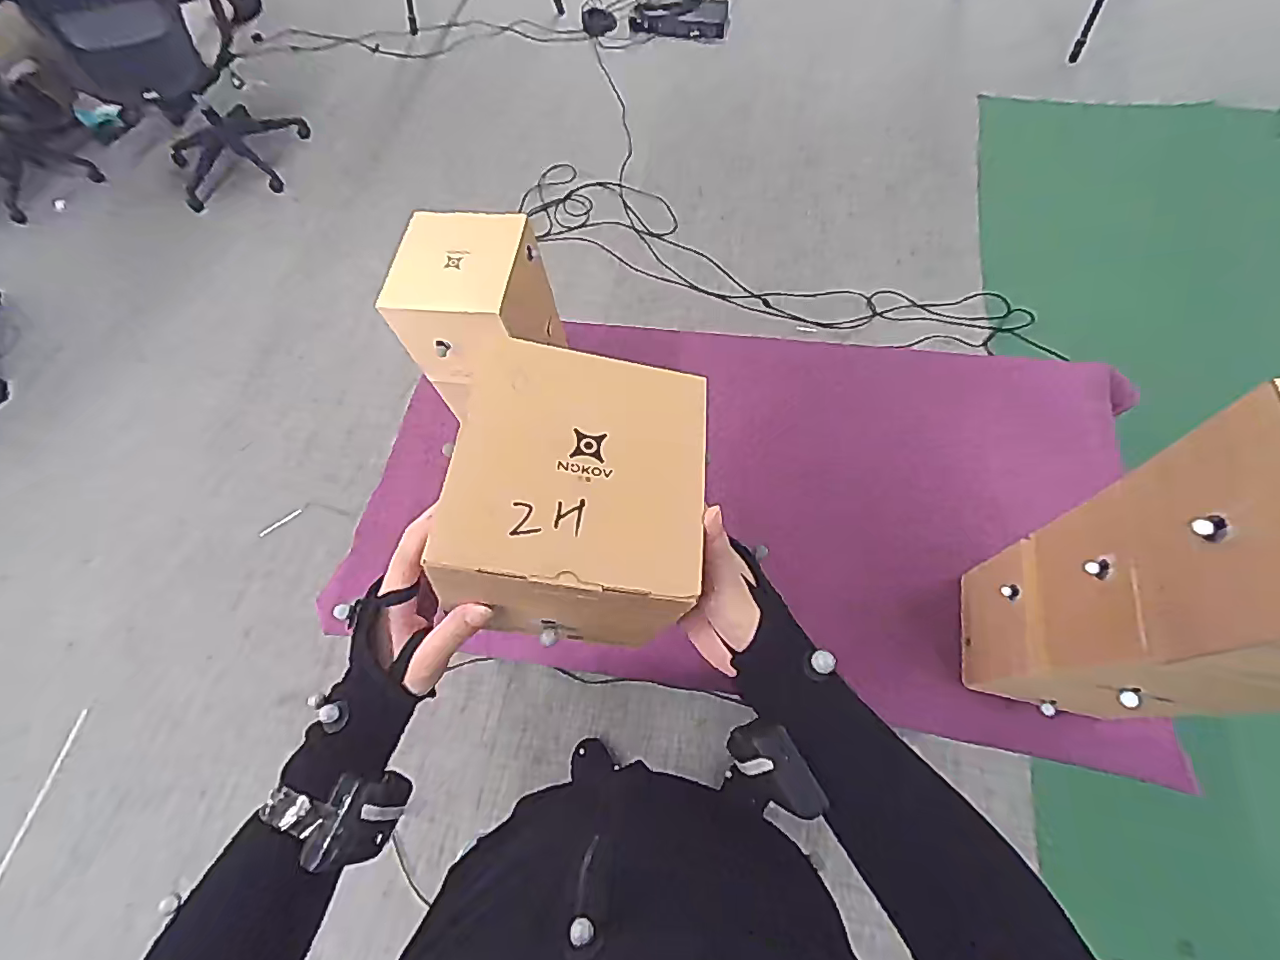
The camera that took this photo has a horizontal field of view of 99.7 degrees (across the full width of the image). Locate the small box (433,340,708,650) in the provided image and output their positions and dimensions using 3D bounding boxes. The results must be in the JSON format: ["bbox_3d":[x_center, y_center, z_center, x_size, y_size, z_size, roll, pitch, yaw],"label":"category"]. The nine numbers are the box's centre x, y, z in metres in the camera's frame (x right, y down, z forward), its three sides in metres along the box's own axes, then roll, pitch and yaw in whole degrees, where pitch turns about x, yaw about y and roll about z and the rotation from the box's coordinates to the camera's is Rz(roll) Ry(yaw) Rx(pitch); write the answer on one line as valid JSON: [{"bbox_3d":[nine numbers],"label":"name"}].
[{"bbox_3d":[-0.051,0.024,0.431,0.168,0.176,0.179,10,62,-8],"label":"small box"}]

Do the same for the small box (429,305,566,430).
[{"bbox_3d":[-0.229,-0.185,0.934,0.179,0.176,0.168,4,66,7],"label":"small box"}]

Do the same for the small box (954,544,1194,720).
[{"bbox_3d":[0.537,0.201,0.696,0.179,0.176,0.168,11,65,9],"label":"small box"}]

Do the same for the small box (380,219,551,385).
[{"bbox_3d":[-0.236,-0.248,0.785,0.168,0.176,0.179,5,65,6],"label":"small box"}]

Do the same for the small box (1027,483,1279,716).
[{"bbox_3d":[0.528,0.127,0.551,0.168,0.176,0.179,10,66,11],"label":"small box"}]
